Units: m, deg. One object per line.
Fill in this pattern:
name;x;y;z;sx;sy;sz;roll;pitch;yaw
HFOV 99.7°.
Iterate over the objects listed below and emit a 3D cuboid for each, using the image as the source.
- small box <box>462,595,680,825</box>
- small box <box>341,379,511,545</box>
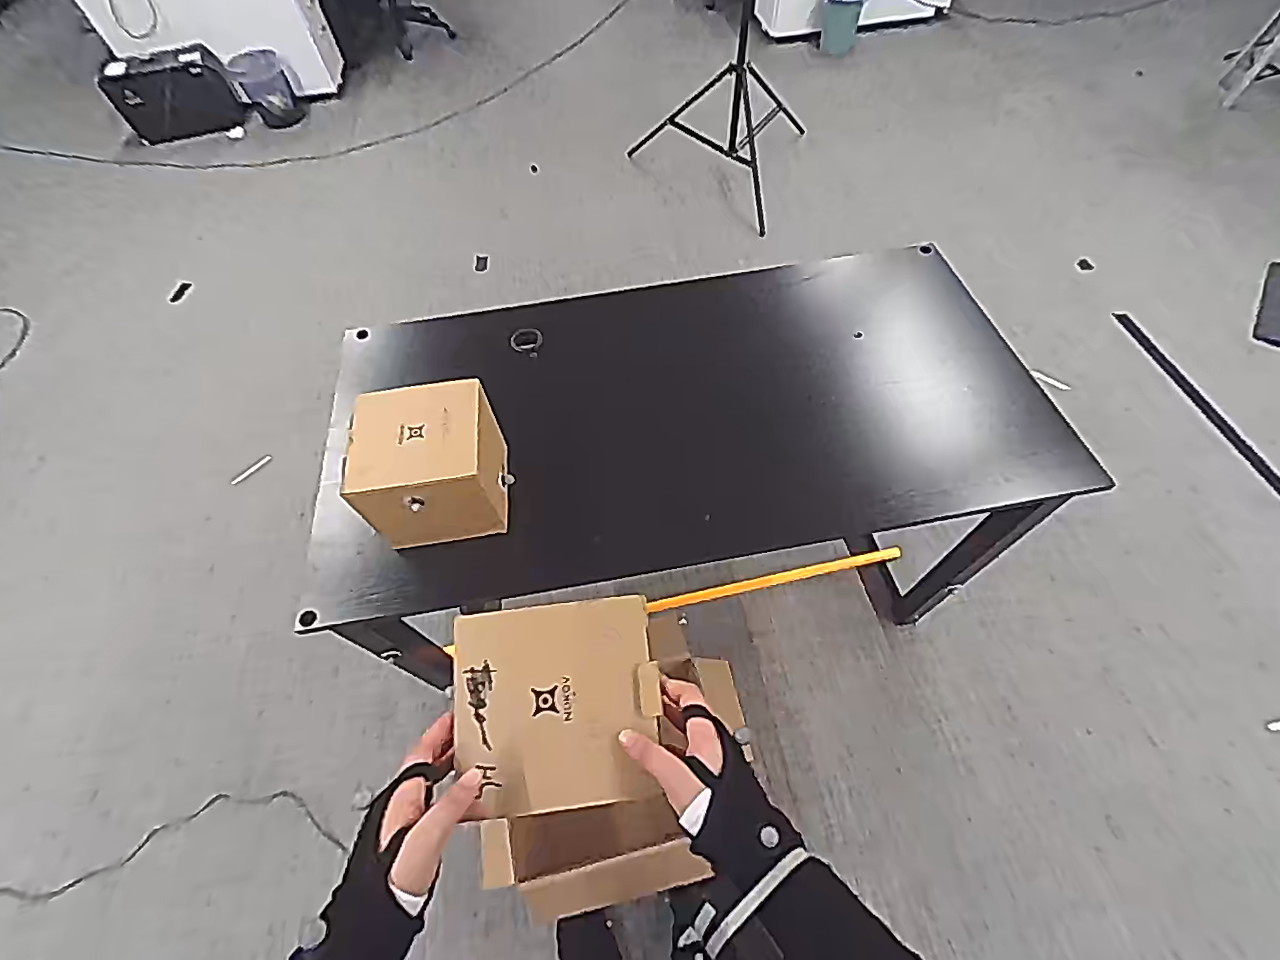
small box;-0.065;0.217;0.532;0.179;0.176;0.168;-7;67;-4
small box;-0.294;-0.020;0.781;0.179;0.176;0.168;-9;59;-4
